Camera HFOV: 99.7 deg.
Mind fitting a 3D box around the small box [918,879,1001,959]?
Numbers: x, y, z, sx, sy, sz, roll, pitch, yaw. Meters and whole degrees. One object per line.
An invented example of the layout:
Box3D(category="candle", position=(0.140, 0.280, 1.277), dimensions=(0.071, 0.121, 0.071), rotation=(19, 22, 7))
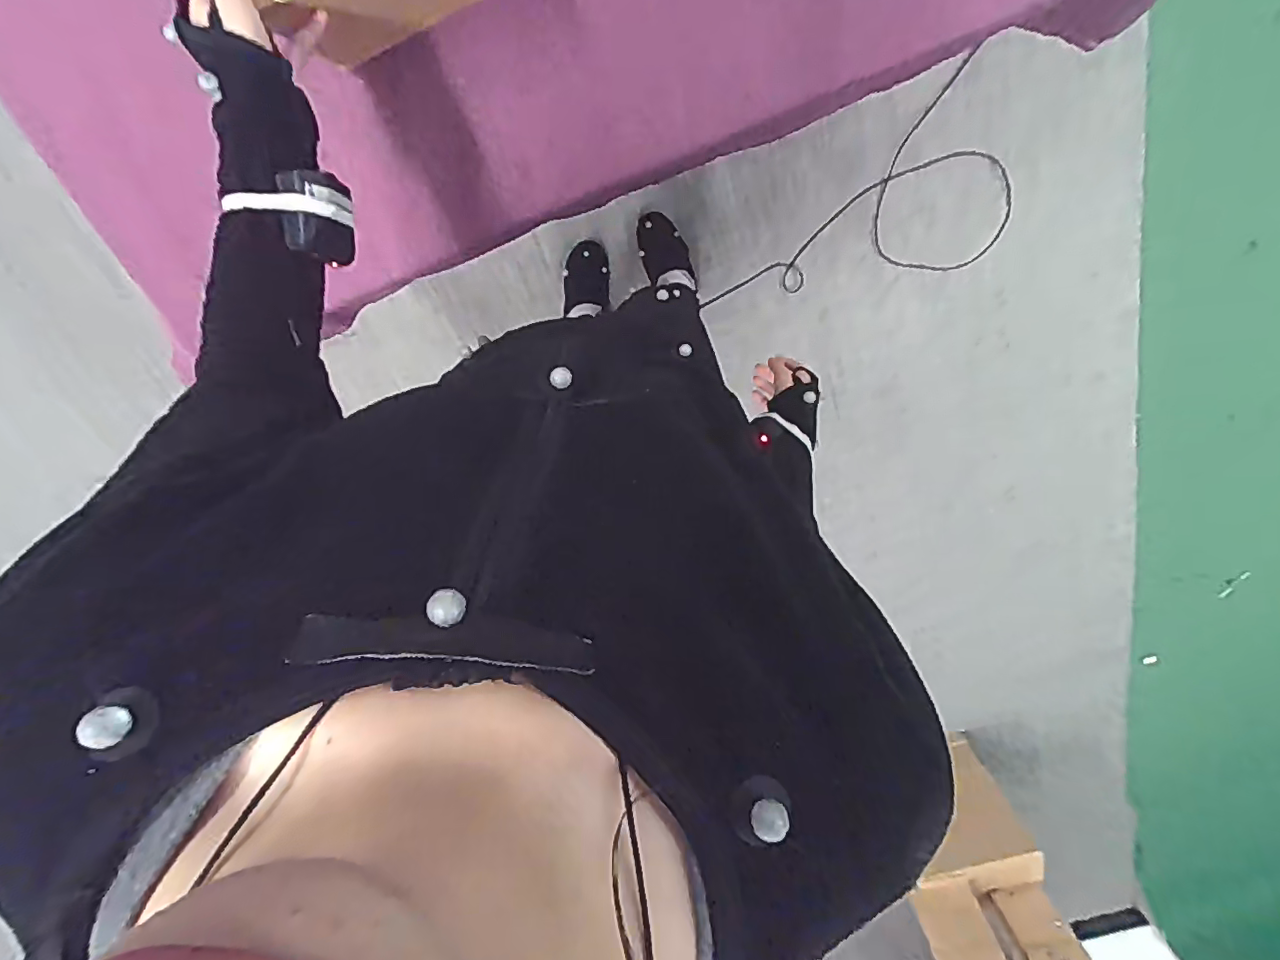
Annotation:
Box3D(category="small box", position=(1.027, 1.429, 1.741), dimensions=(0.179, 0.176, 0.168), rotation=(-17, 113, 5))

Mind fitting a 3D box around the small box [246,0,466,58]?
Box3D(category="small box", position=(-0.254, -0.494, 0.446), dimensions=(0.179, 0.176, 0.168), rotation=(-22, 115, 7))

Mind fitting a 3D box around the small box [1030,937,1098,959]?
Box3D(category="small box", position=(1.301, 1.517, 1.616), dimensions=(0.168, 0.176, 0.179), rotation=(-15, 115, 3))

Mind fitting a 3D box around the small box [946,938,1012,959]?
Box3D(category="small box", position=(1.028, 1.502, 1.595), dimensions=(0.179, 0.176, 0.168), rotation=(-16, 115, 5))
